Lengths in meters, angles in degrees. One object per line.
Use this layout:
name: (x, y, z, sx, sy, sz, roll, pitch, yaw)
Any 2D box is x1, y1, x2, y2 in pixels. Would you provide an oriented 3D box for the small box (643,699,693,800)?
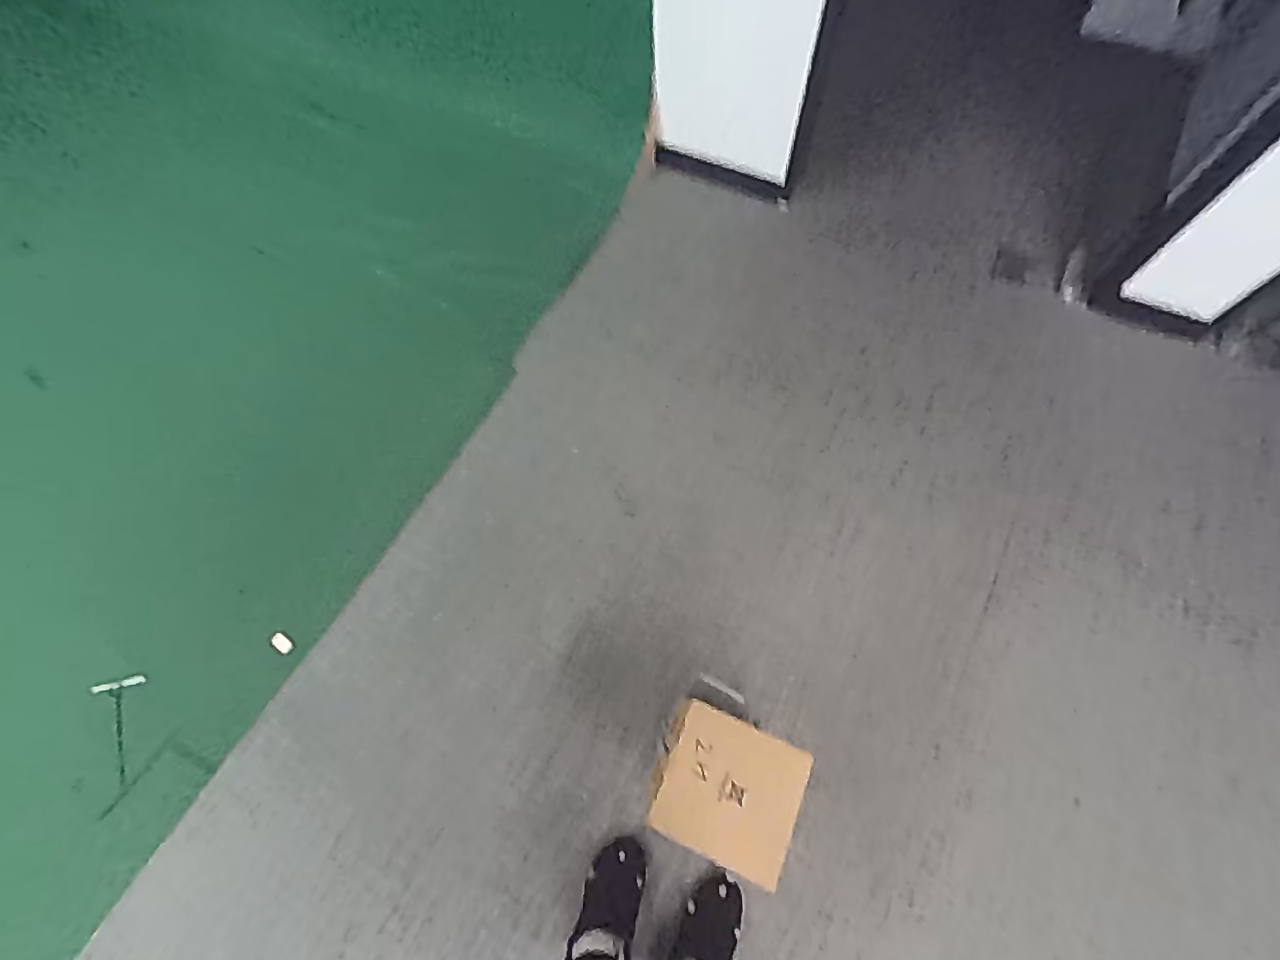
small box: (0.120, 0.497, 0.927, 0.179, 0.176, 0.168, 21, 69, 13)

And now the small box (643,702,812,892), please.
small box: (0.119, 0.435, 0.774, 0.179, 0.176, 0.168, 22, 68, 13)
